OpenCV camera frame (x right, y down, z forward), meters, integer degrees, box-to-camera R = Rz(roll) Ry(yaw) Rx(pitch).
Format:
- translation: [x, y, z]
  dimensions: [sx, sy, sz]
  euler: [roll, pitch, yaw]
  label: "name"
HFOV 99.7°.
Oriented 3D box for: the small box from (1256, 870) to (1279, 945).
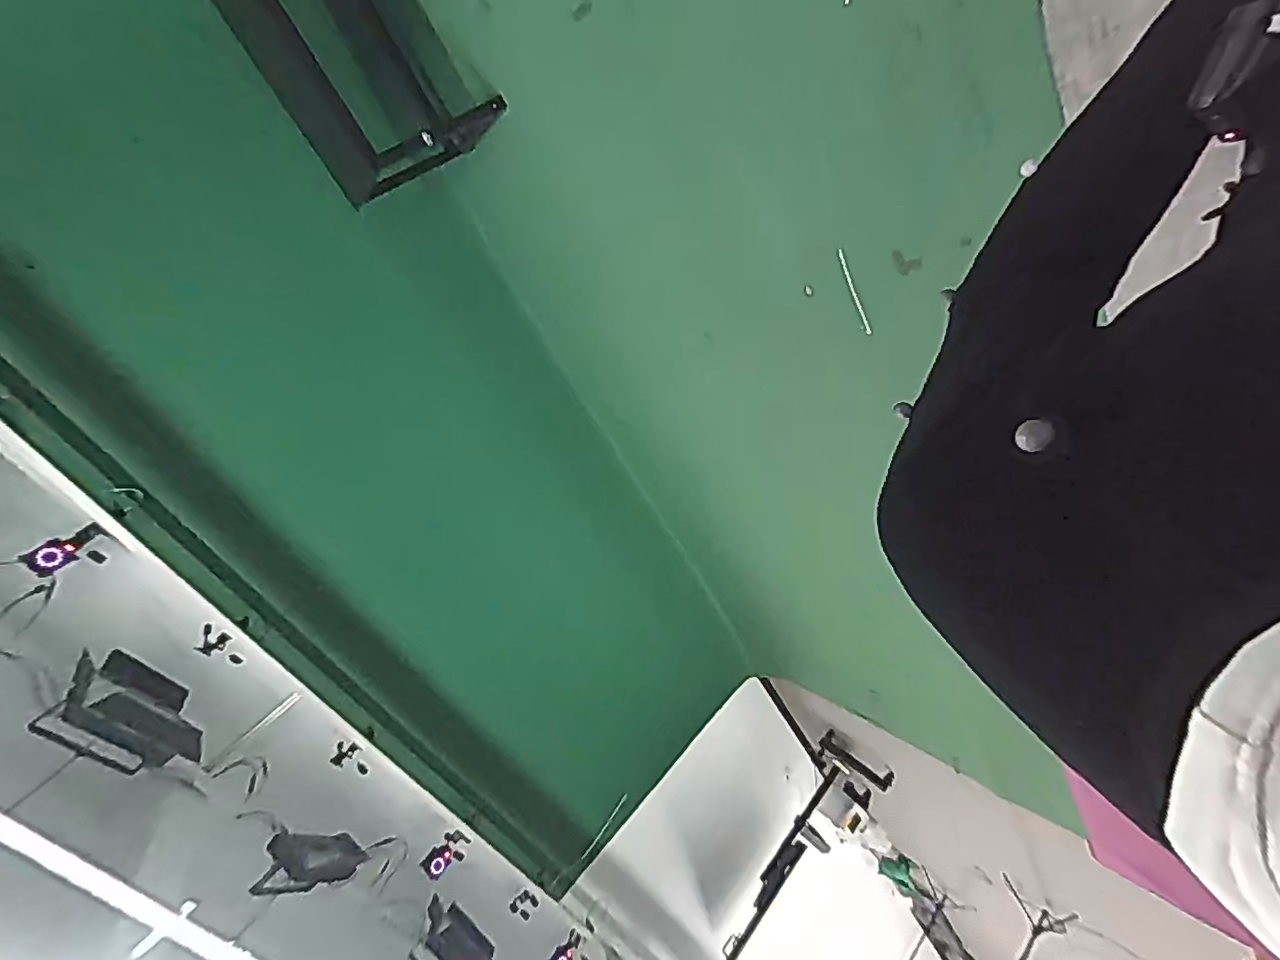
- translation: [1.399, 0.929, 1.089]
  dimensions: [0.179, 0.176, 0.168]
  euler: [18, 144, 53]
  label: "small box"
